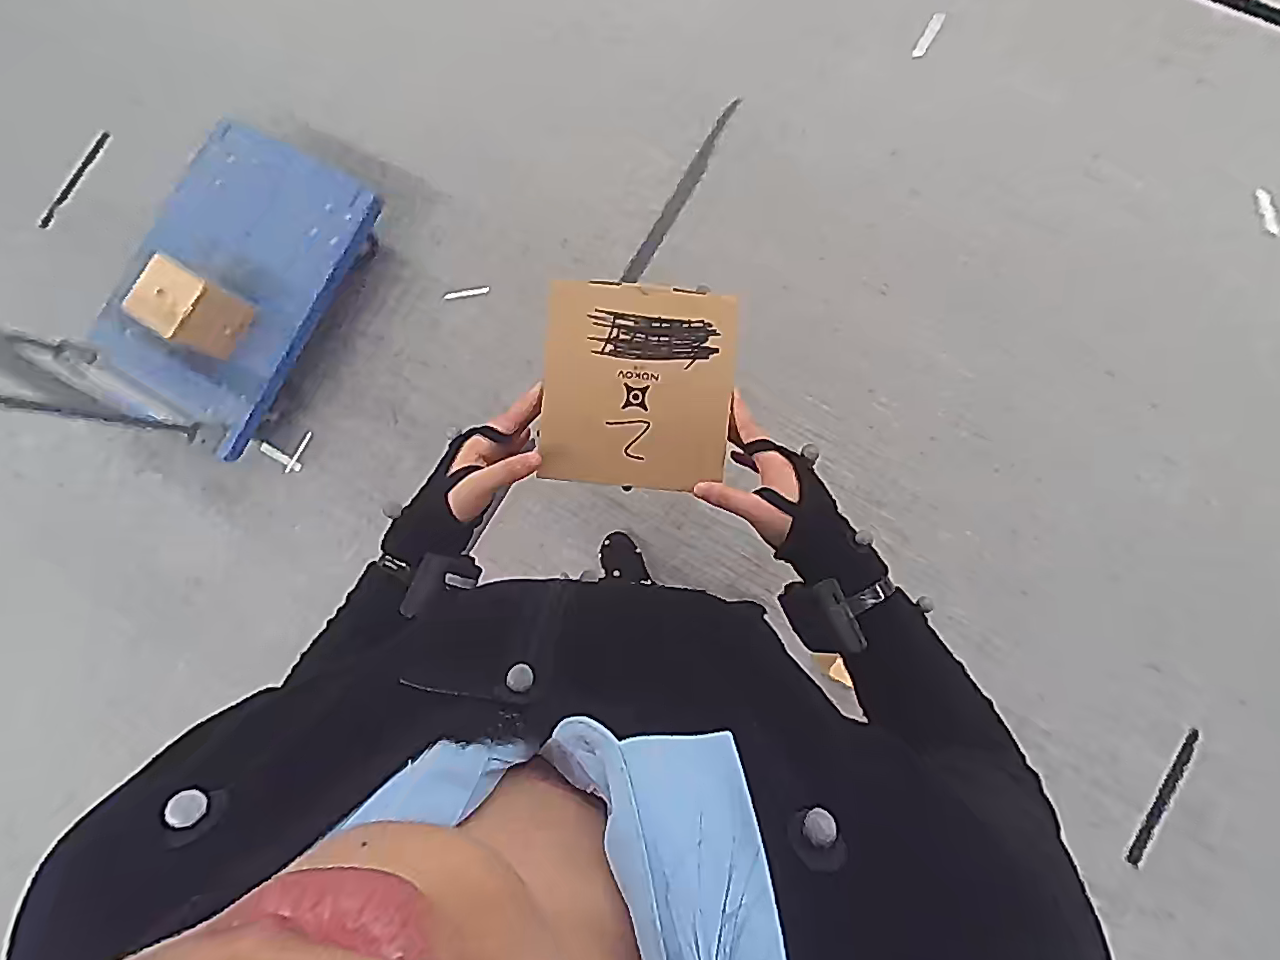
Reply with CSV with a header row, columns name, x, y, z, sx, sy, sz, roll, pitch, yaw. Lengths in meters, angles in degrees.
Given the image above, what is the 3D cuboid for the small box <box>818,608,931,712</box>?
name,x,y,z,sx,sy,sz,roll,pitch,yaw
small box,0.570,0.433,1.338,0.179,0.176,0.168,29,87,9

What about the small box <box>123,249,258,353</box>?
name,x,y,z,sx,sy,sz,roll,pitch,yaw
small box,-1.167,-0.457,1.416,0.179,0.176,0.168,33,89,8
